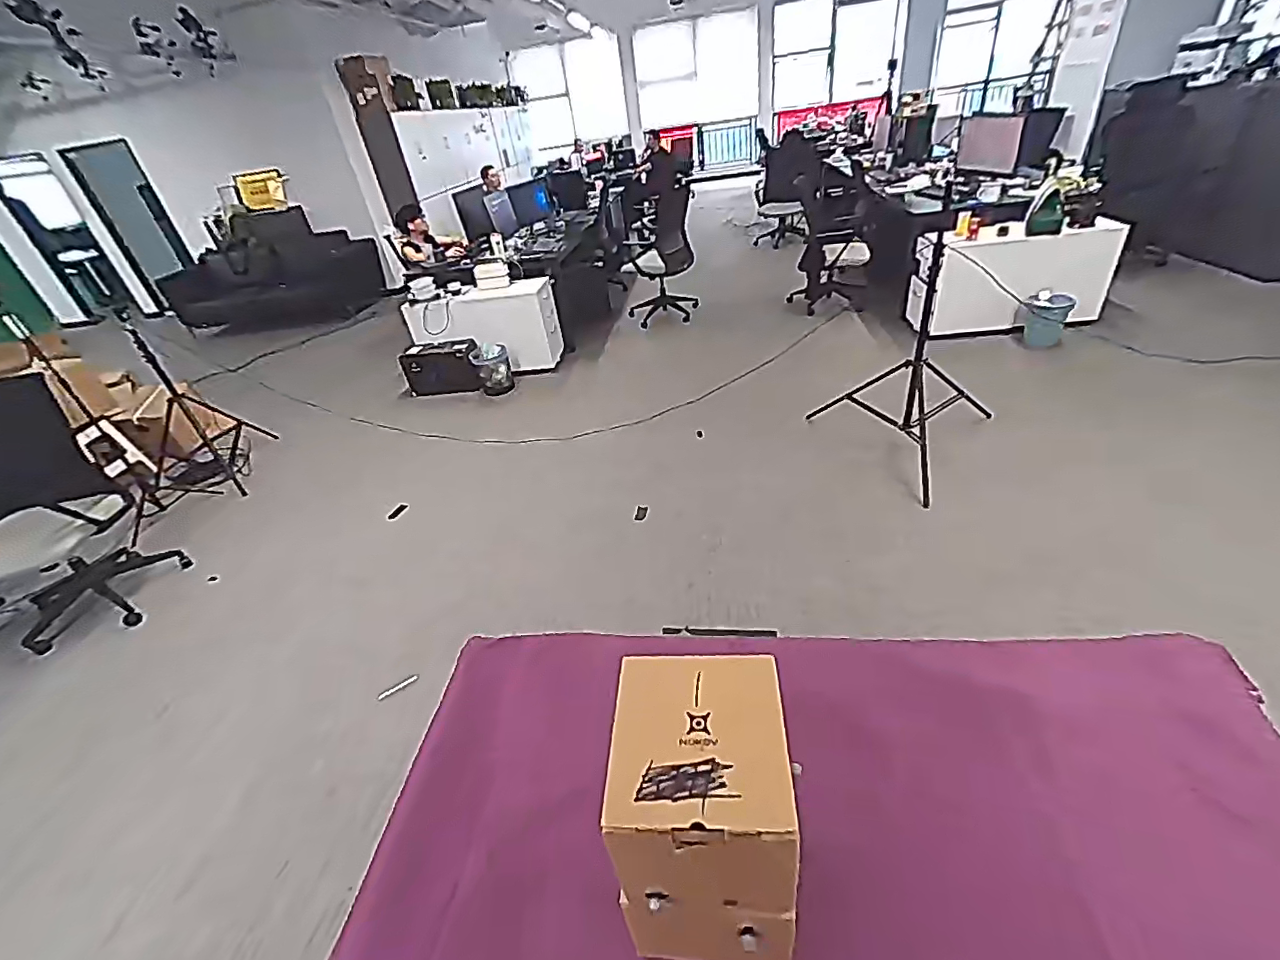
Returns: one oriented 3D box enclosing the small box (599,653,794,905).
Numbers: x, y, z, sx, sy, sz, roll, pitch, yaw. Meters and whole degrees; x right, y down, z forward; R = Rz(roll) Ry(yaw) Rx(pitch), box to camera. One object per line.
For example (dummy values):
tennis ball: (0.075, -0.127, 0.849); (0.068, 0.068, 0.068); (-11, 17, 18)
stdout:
small box: (0.064, 0.303, 0.556); (0.168, 0.176, 0.179); (-3, 34, 8)

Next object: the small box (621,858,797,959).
small box: (0.084, 0.442, 0.642); (0.179, 0.176, 0.168); (-3, 34, 10)
